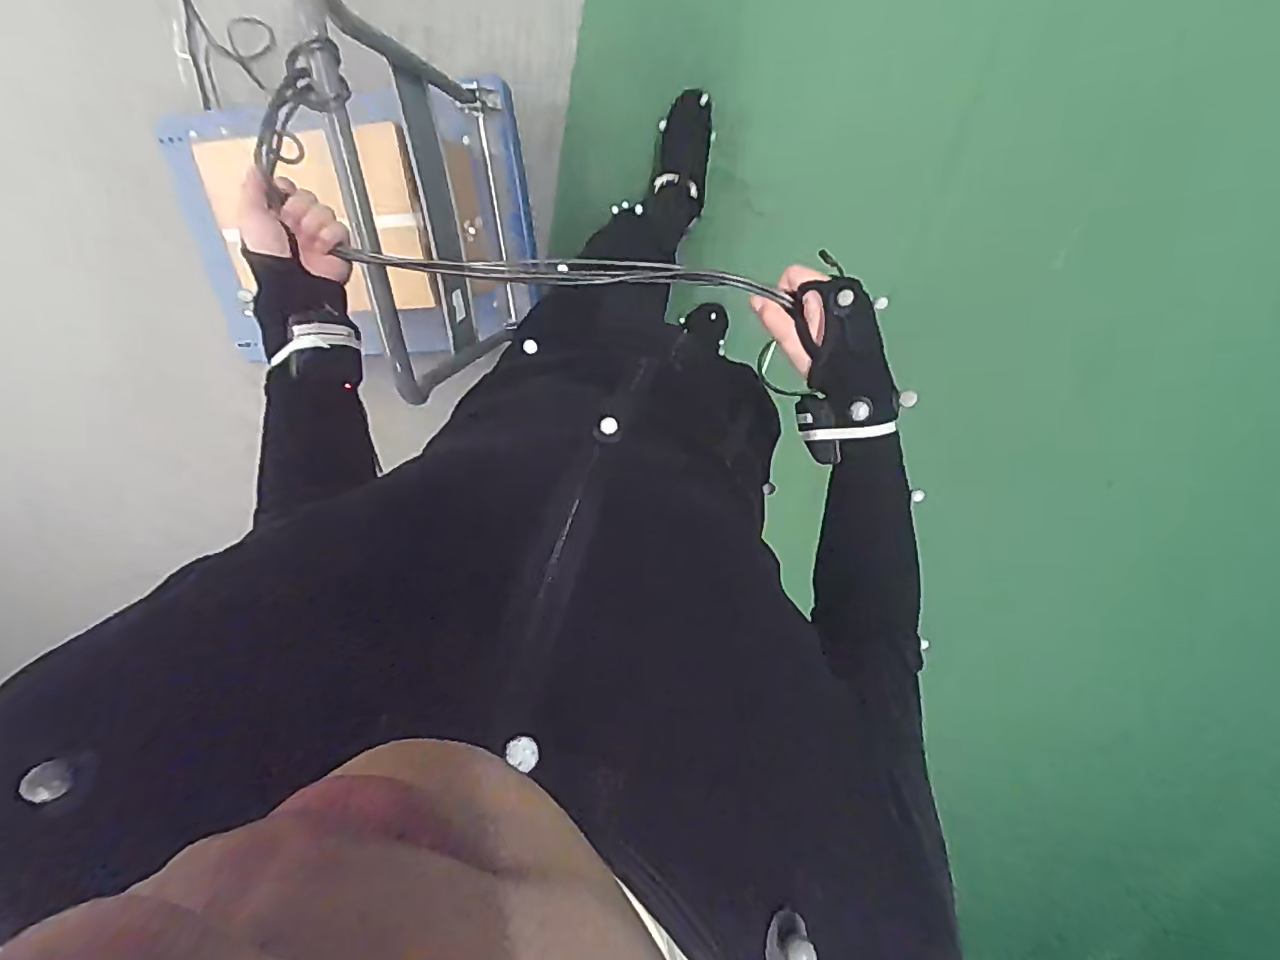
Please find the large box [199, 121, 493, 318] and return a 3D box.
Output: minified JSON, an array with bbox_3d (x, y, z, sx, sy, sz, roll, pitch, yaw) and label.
[{"bbox_3d":[-0.581,-0.539,1.153,0.408,0.320,0.320,0,115,9],"label":"large box"}]
